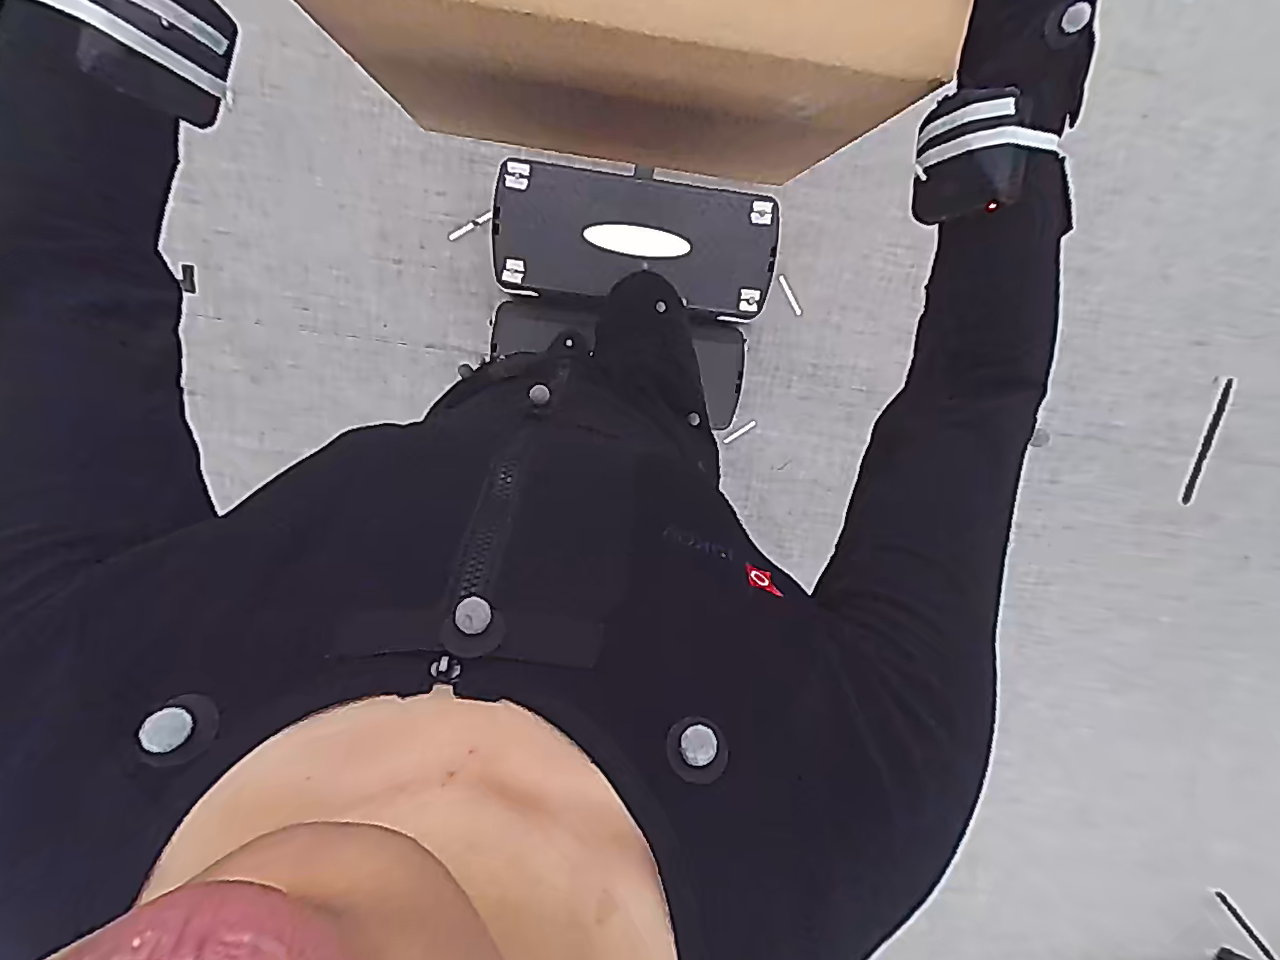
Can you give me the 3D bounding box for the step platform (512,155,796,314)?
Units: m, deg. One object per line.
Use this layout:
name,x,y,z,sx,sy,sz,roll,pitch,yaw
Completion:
step platform,0.031,-0.594,1.343,0.684,0.204,0.286,5,104,-5

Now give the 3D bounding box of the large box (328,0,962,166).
large box,-0.003,-0.466,0.412,0.408,0.320,0.320,4,109,-7
